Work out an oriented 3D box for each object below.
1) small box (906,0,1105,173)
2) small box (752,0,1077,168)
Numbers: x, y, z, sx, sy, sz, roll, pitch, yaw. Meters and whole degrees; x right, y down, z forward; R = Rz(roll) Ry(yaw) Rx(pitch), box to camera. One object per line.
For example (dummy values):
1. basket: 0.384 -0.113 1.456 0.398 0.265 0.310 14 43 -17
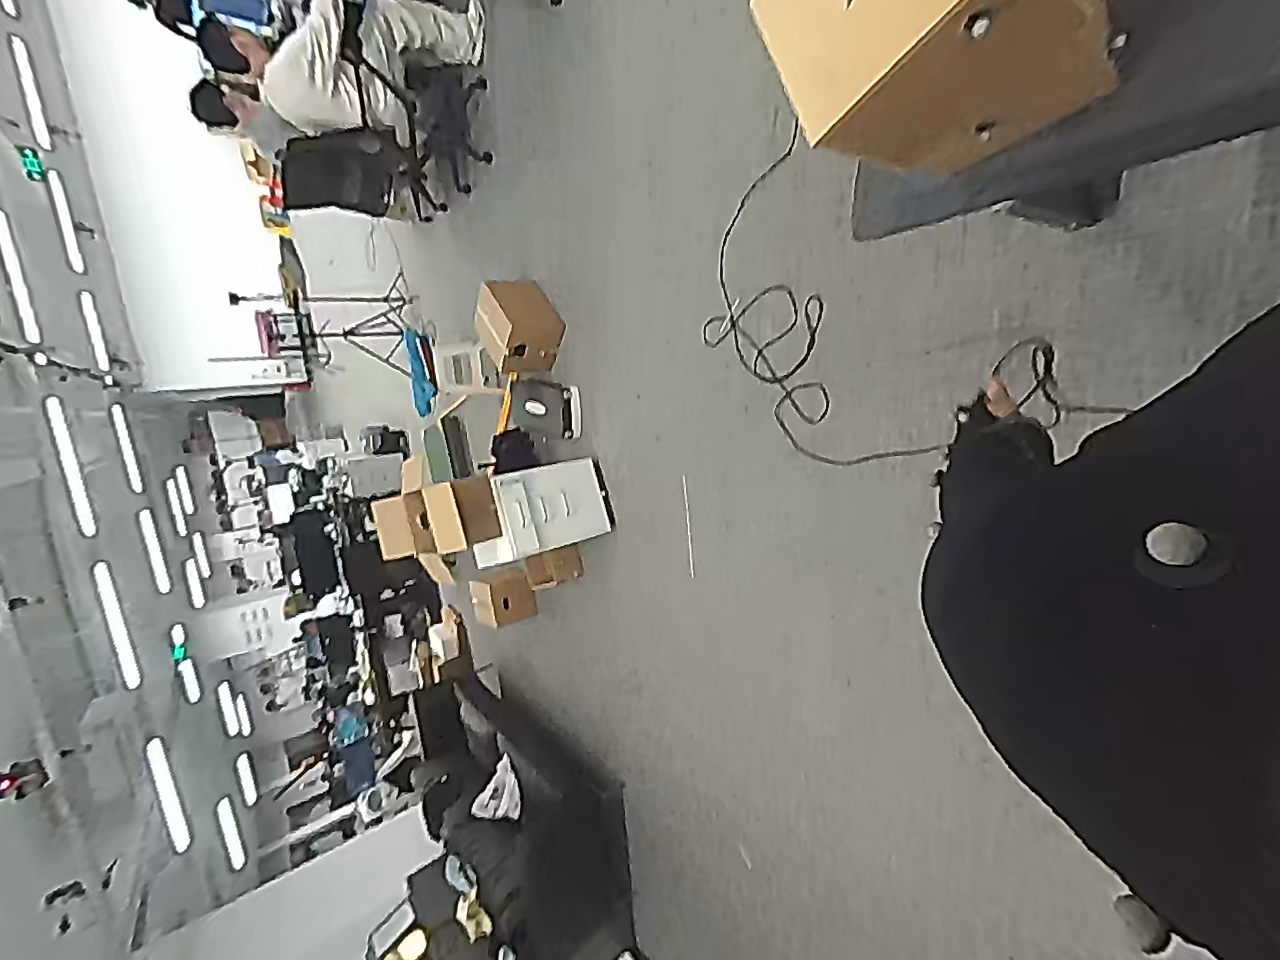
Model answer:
1. small box: 0.365 -0.463 0.581 0.179 0.176 0.168 -9 94 55
2. small box: 0.240 -0.417 0.487 0.179 0.176 0.168 -29 78 52
